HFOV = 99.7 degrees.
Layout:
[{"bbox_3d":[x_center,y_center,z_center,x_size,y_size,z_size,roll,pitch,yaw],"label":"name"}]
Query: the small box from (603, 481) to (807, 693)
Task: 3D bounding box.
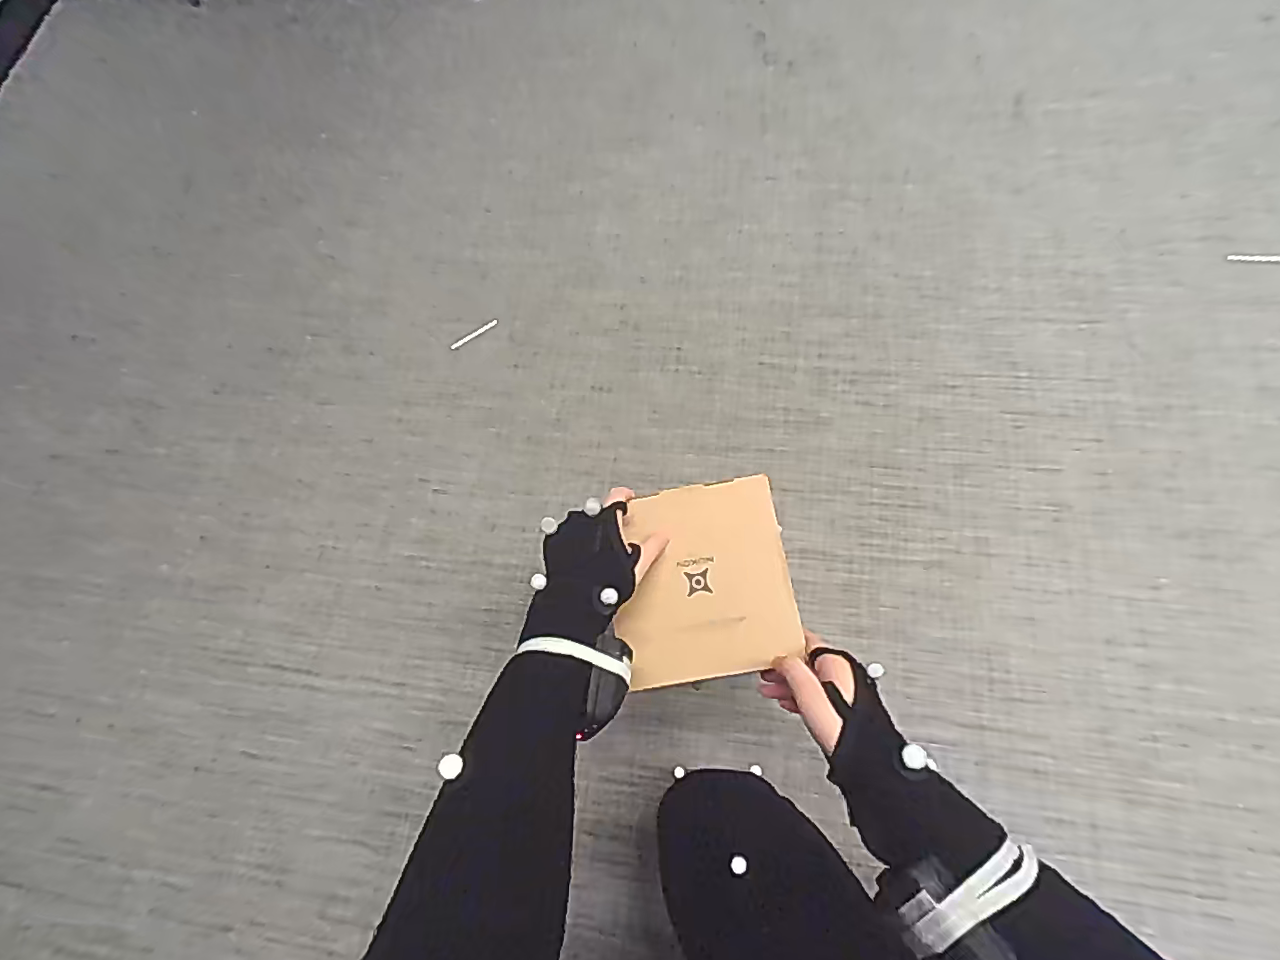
[{"bbox_3d":[0.062,0.119,0.573,0.168,0.176,0.179,-10,72,3],"label":"small box"}]
